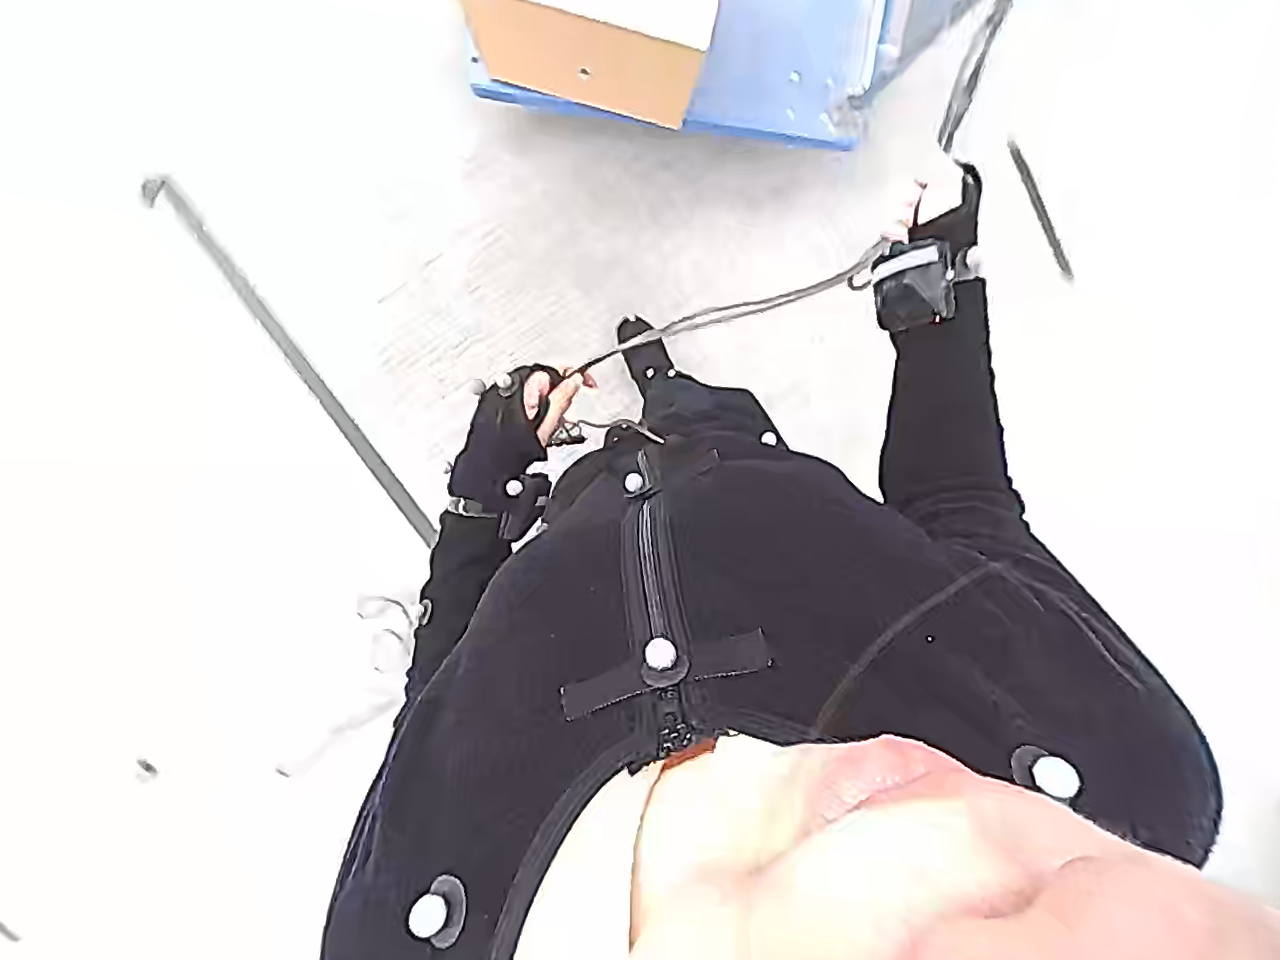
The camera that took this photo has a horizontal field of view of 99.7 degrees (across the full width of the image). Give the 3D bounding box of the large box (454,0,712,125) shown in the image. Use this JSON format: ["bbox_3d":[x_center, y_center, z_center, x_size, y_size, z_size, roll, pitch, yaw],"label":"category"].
[{"bbox_3d":[-0.077,-0.889,0.949,0.408,0.320,0.320,10,101,-6],"label":"large box"}]
